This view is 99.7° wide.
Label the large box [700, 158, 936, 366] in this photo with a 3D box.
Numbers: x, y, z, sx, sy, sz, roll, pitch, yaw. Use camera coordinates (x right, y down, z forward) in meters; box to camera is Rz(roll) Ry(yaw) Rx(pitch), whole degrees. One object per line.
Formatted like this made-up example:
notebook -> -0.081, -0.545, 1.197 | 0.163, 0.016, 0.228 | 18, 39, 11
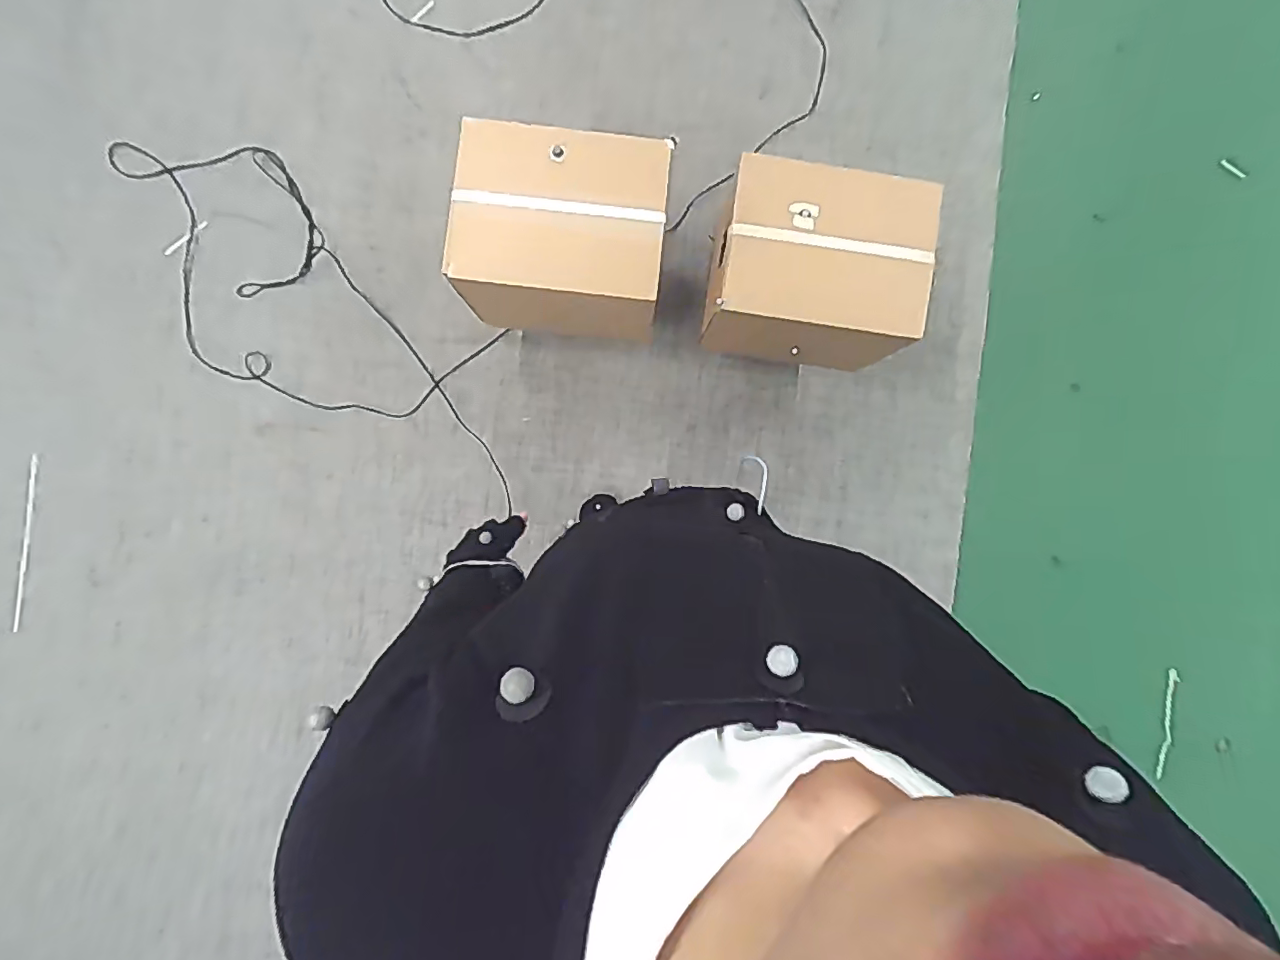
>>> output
large box -> 0.369, -0.457, 1.210 | 0.408, 0.320, 0.320 | 8, 89, -1
